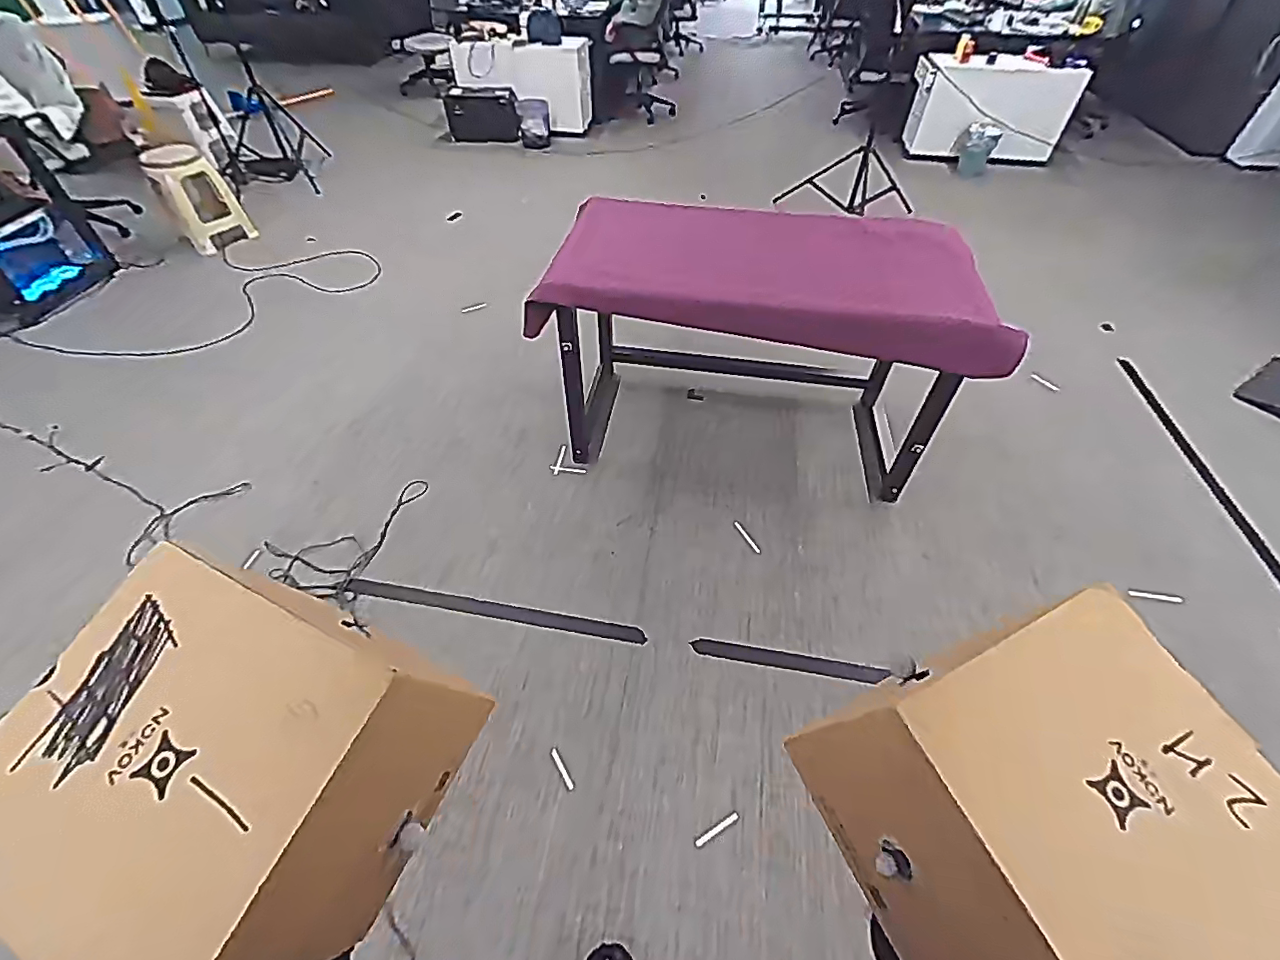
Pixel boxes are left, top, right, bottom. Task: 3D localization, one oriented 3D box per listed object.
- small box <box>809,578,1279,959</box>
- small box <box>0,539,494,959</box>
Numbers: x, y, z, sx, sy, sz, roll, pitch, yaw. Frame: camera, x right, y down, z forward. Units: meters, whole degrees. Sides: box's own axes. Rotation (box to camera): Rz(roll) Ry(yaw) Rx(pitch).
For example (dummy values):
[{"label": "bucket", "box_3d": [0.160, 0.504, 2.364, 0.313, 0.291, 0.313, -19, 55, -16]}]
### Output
[{"label": "small box", "box_3d": [0.230, 0.191, 0.337, 0.179, 0.176, 0.168, -20, 64, -19]}, {"label": "small box", "box_3d": [-0.223, 0.166, 0.336, 0.179, 0.176, 0.168, 22, 68, 14]}]
